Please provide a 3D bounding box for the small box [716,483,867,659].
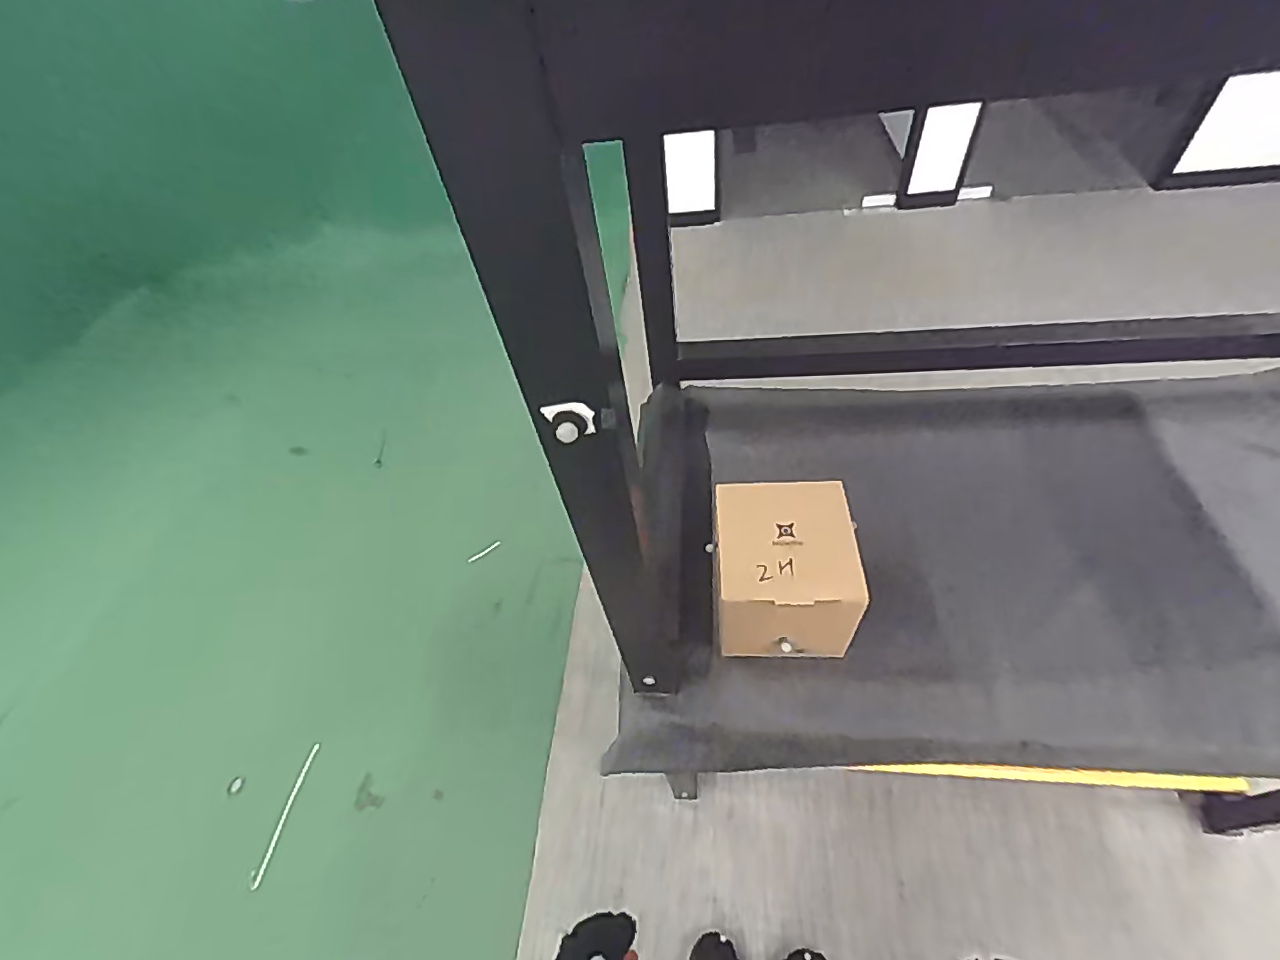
[{"bbox_3d":[0.187,0.123,0.729,0.168,0.176,0.179,-2,51,7],"label":"small box"}]
